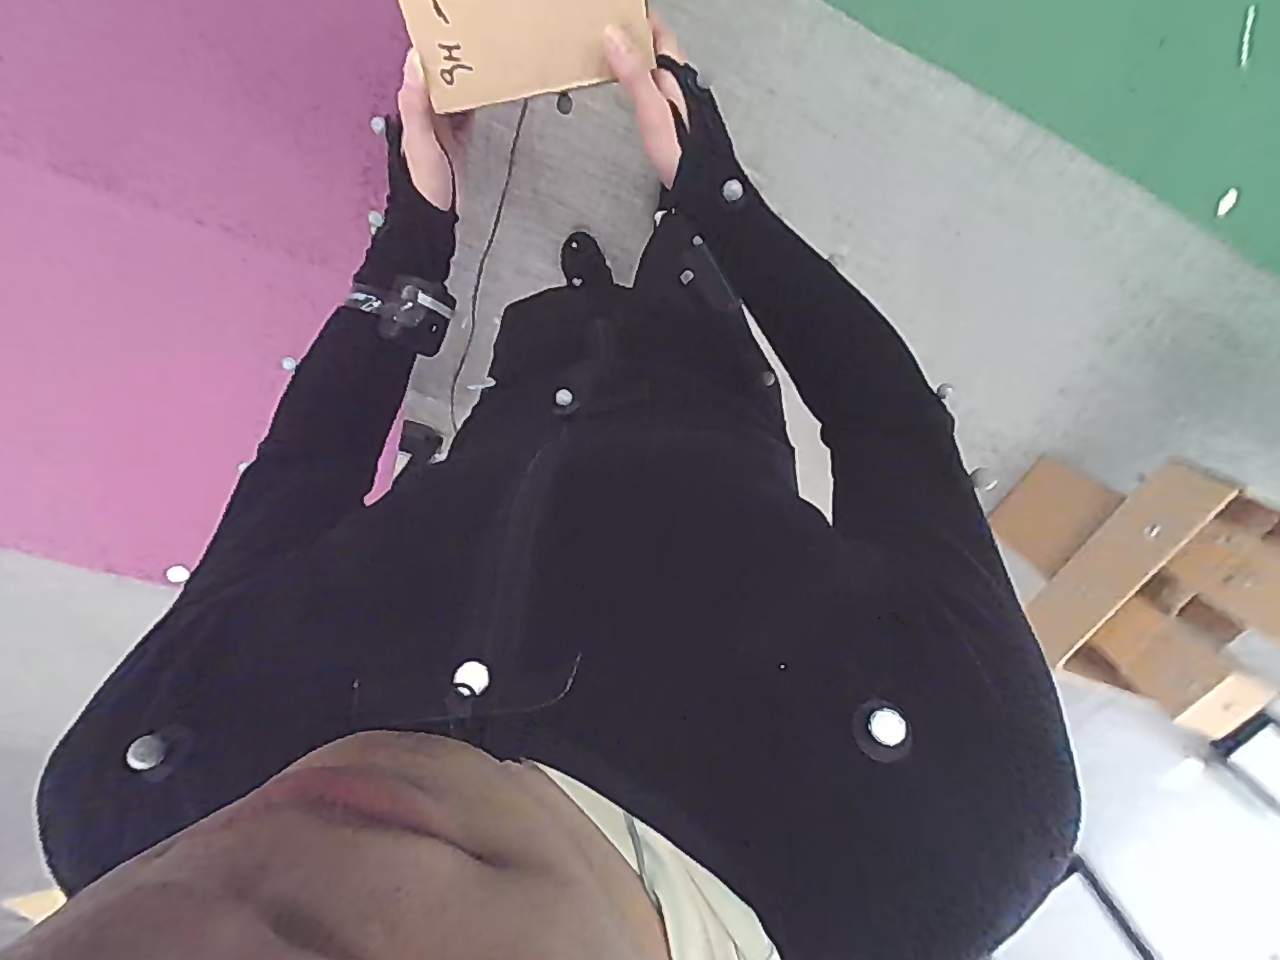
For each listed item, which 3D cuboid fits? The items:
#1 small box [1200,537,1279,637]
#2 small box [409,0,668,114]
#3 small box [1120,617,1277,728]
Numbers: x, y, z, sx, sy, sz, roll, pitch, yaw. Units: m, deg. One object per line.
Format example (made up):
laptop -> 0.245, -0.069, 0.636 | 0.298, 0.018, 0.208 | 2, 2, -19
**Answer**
small box -> 1.460, 0.253, 1.222 | 0.179, 0.176, 0.168 | 19, 115, -14
small box -> -0.078, -0.399, 0.421 | 0.179, 0.176, 0.168 | -7, 125, 3
small box -> 1.357, 0.468, 1.329 | 0.168, 0.176, 0.179 | 21, 115, -13
